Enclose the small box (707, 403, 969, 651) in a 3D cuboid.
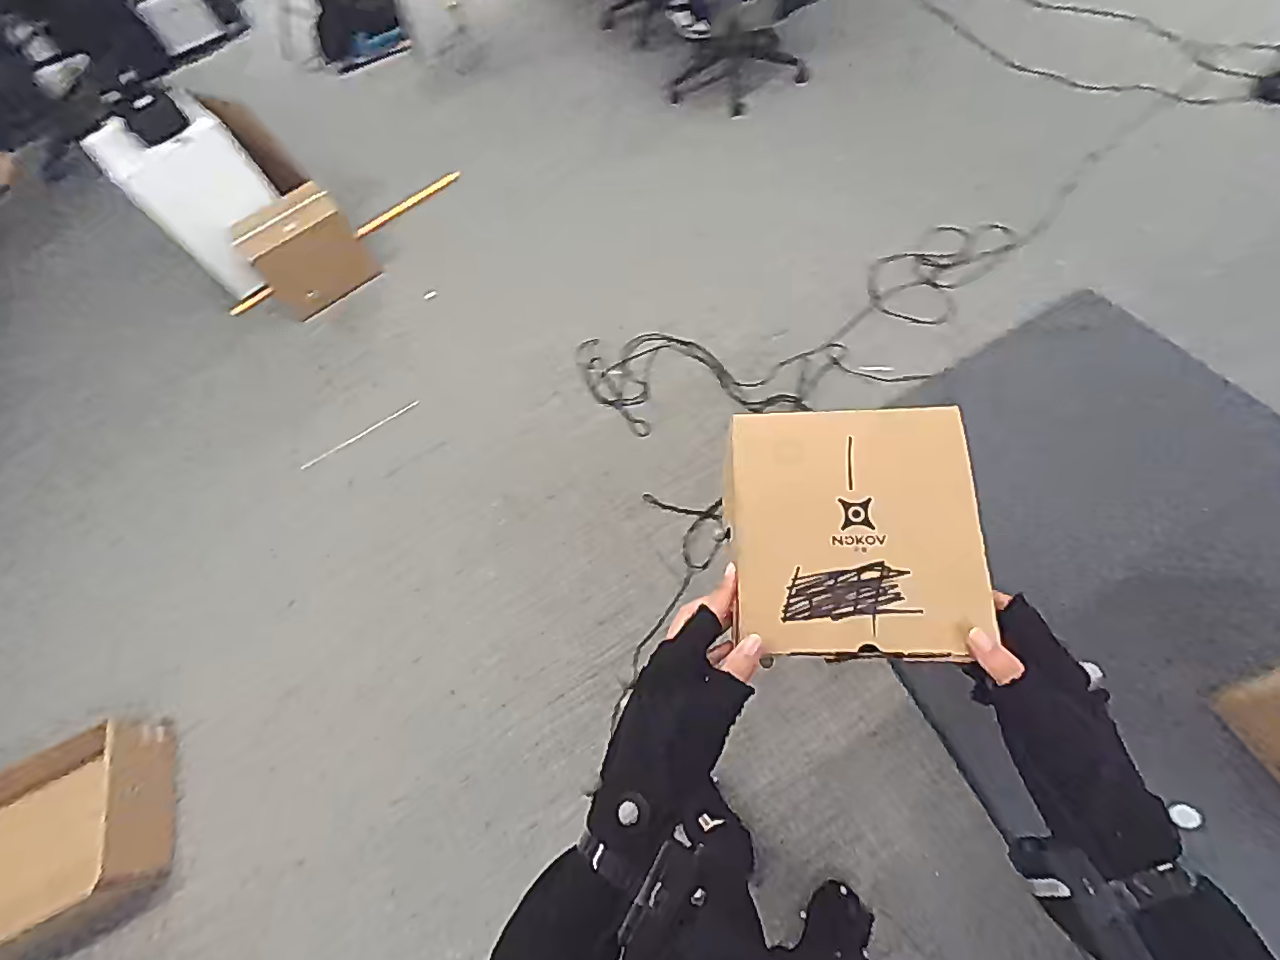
[{"bbox_3d":[0.143,0.050,0.458,0.168,0.176,0.179,-1,73,5],"label":"small box"}]
